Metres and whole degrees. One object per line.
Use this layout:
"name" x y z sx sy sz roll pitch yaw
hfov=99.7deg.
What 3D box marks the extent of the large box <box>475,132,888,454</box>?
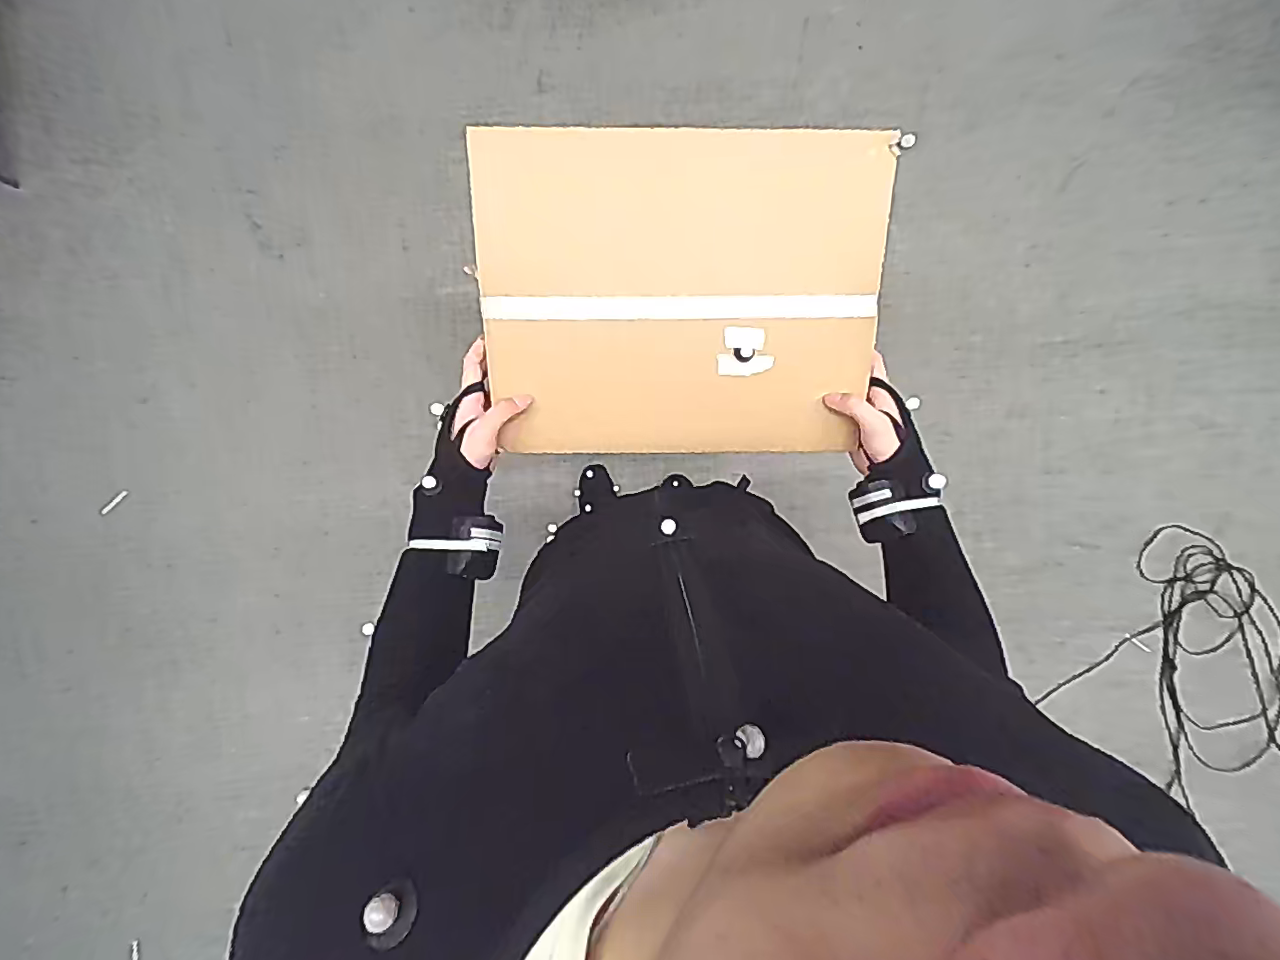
"large box" 0.038 -0.229 0.701 0.408 0.320 0.320 -1 110 -2
